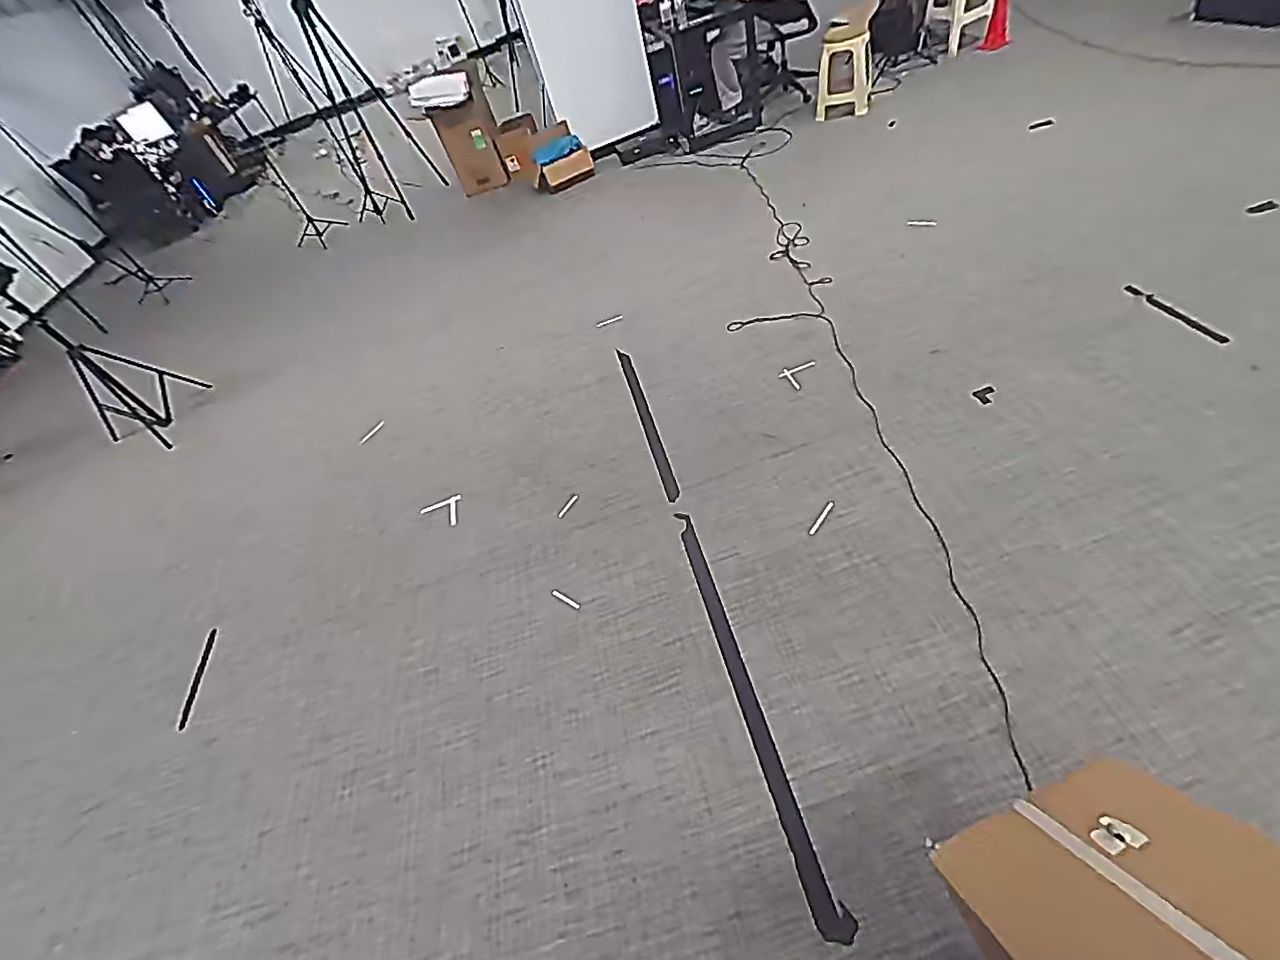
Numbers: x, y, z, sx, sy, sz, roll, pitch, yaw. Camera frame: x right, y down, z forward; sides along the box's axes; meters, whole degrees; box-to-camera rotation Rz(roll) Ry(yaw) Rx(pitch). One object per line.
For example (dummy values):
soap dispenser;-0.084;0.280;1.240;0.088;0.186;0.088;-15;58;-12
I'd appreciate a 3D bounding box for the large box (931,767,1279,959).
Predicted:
large box;0.635;0.611;0.601;0.320;0.408;0.320;-26;83;-2
